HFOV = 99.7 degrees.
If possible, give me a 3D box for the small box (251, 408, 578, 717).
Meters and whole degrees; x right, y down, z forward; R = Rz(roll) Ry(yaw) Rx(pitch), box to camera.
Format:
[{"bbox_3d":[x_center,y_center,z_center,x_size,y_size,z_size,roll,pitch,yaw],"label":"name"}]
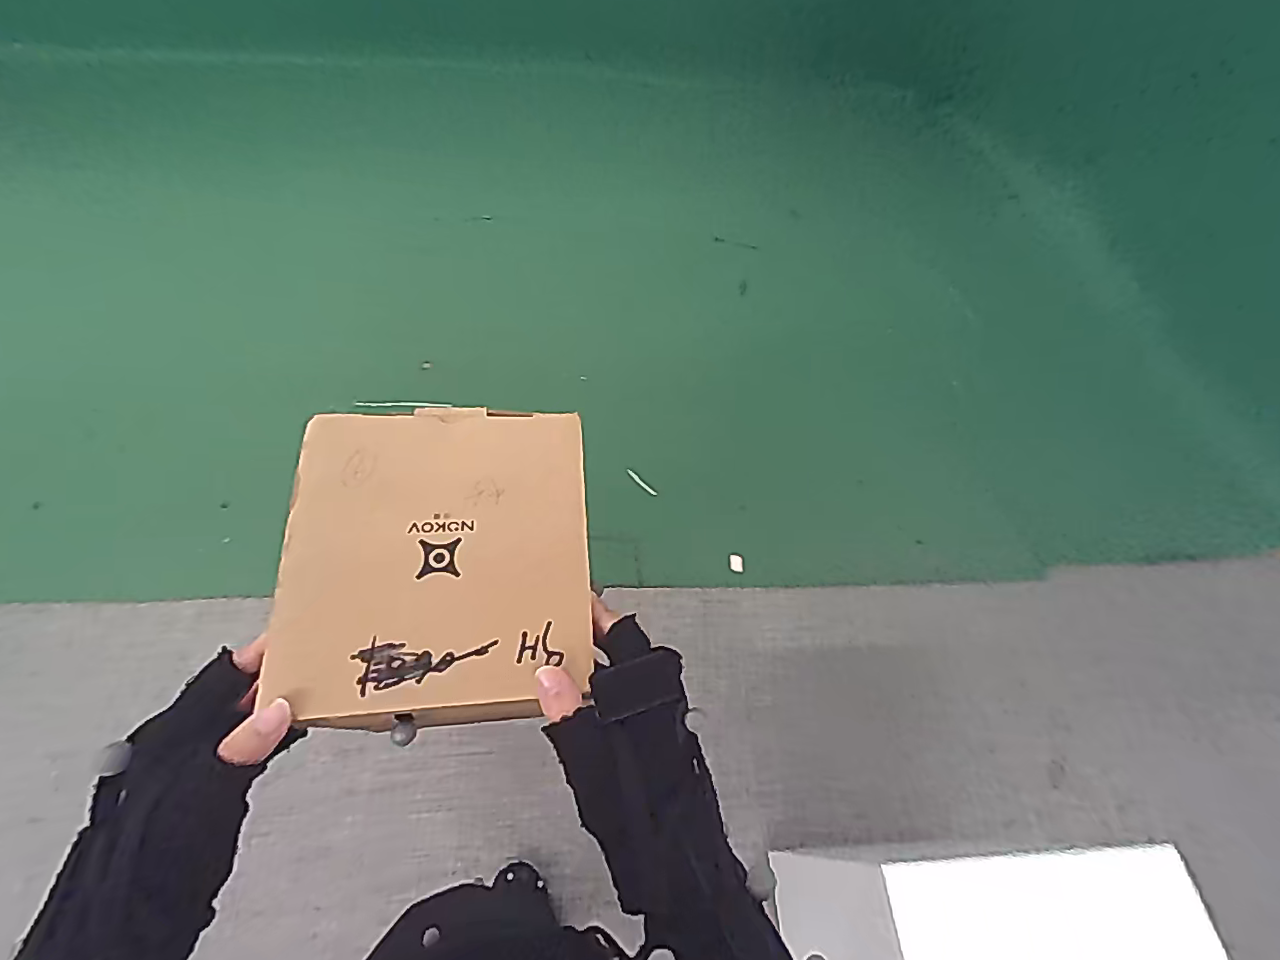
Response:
[{"bbox_3d":[-0.133,0.066,0.390,0.168,0.176,0.179,-2,65,-9],"label":"small box"}]
